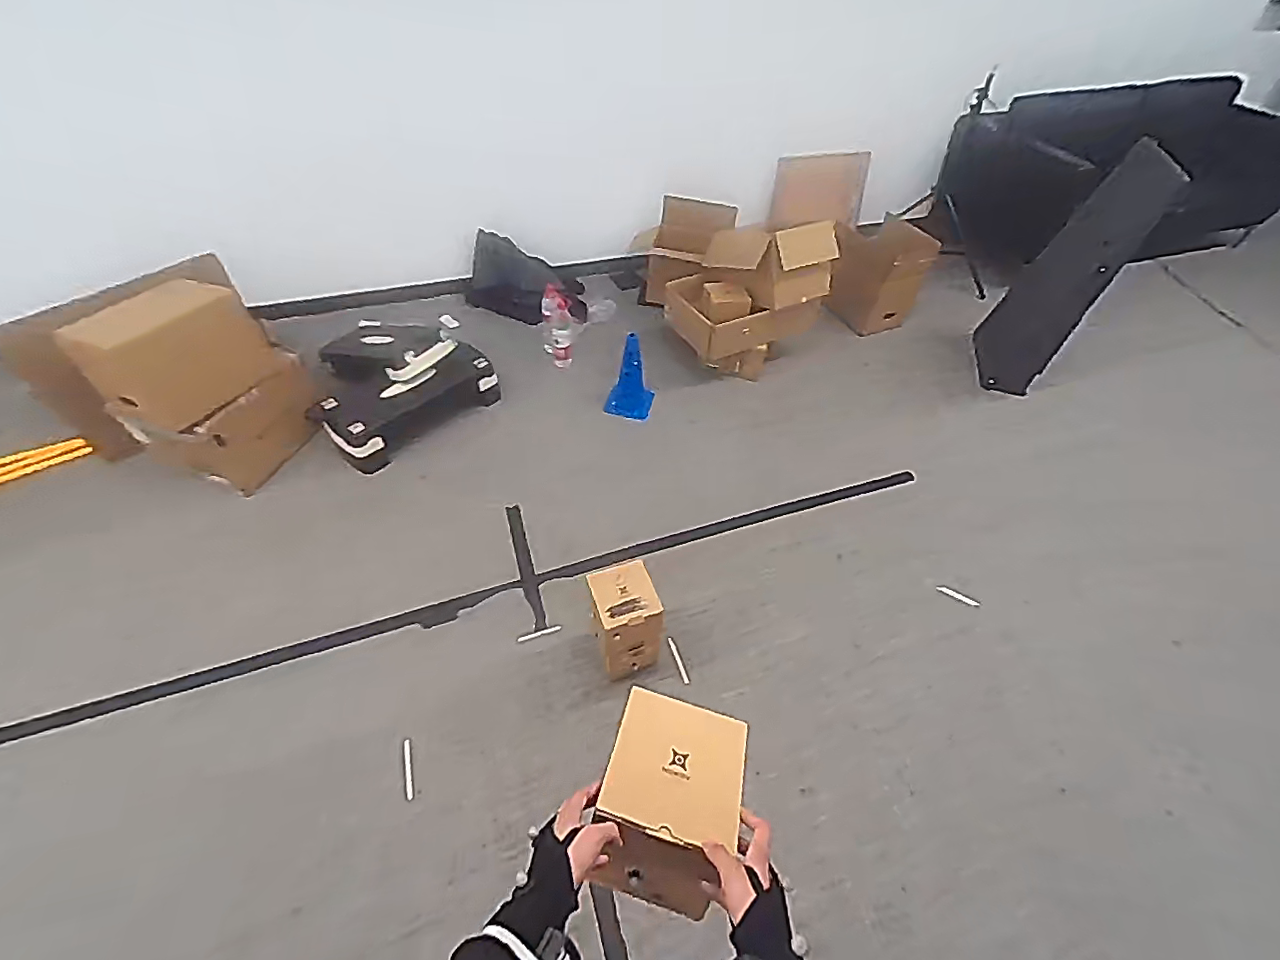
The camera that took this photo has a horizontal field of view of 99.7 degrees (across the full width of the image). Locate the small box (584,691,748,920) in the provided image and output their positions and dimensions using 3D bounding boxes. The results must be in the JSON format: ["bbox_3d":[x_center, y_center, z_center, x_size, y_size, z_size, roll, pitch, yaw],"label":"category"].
[{"bbox_3d":[0.033,0.422,0.710,0.168,0.176,0.179,16,34,6],"label":"small box"}]

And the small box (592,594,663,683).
[{"bbox_3d":[-0.044,0.479,1.630,0.168,0.176,0.179,-16,52,-16],"label":"small box"}]
